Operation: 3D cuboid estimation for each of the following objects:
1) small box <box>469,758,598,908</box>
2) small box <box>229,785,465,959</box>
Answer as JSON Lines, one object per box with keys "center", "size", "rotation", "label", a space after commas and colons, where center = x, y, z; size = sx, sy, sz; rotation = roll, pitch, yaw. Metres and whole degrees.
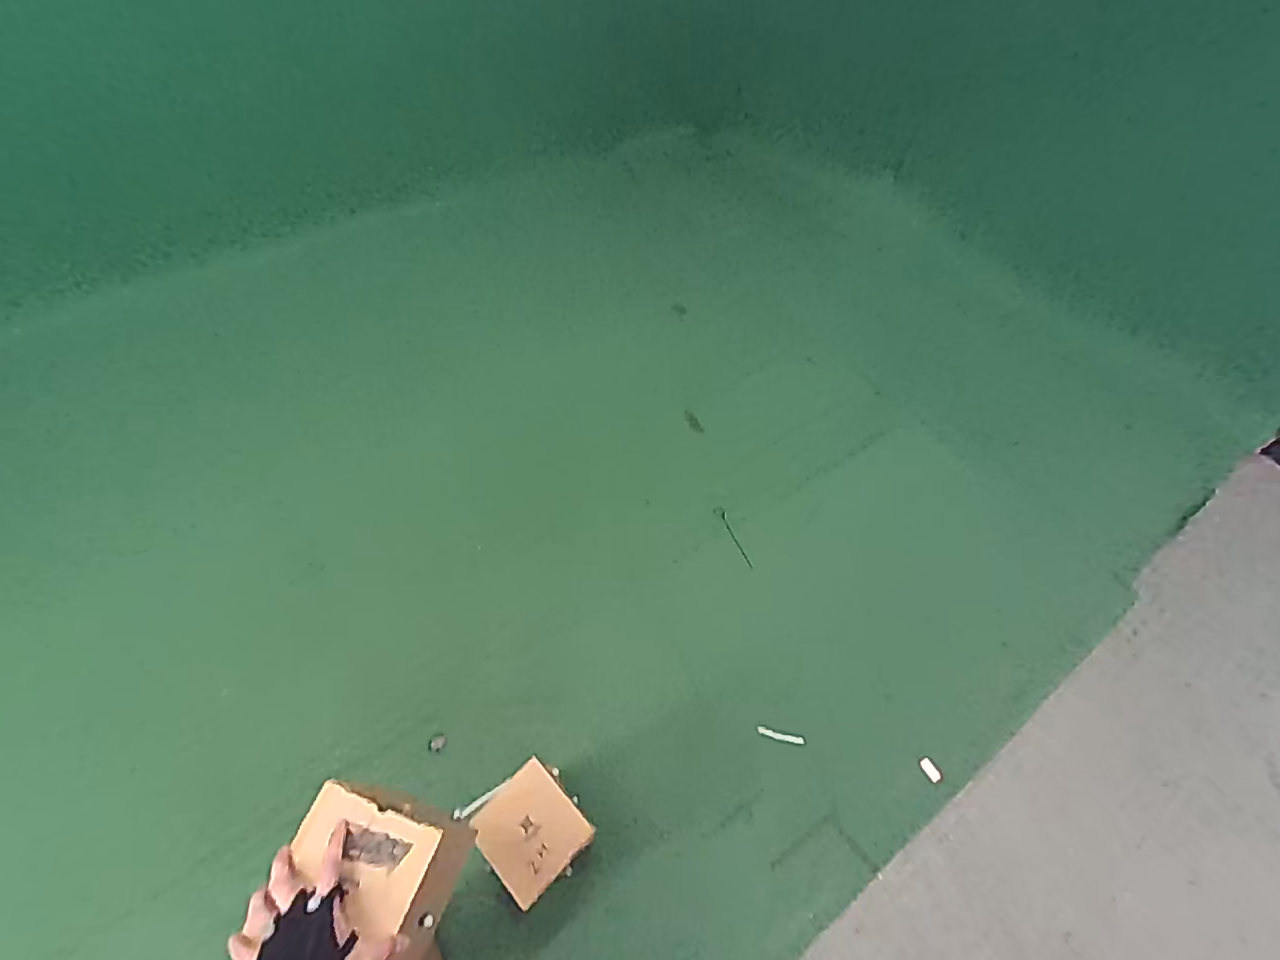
{"center": [-0.199, 0.679, 1.049], "size": [0.168, 0.176, 0.179], "rotation": [-39, 66, -23], "label": "small box"}
{"center": [-0.341, 0.509, 0.678], "size": [0.168, 0.176, 0.179], "rotation": [17, 60, 11], "label": "small box"}
